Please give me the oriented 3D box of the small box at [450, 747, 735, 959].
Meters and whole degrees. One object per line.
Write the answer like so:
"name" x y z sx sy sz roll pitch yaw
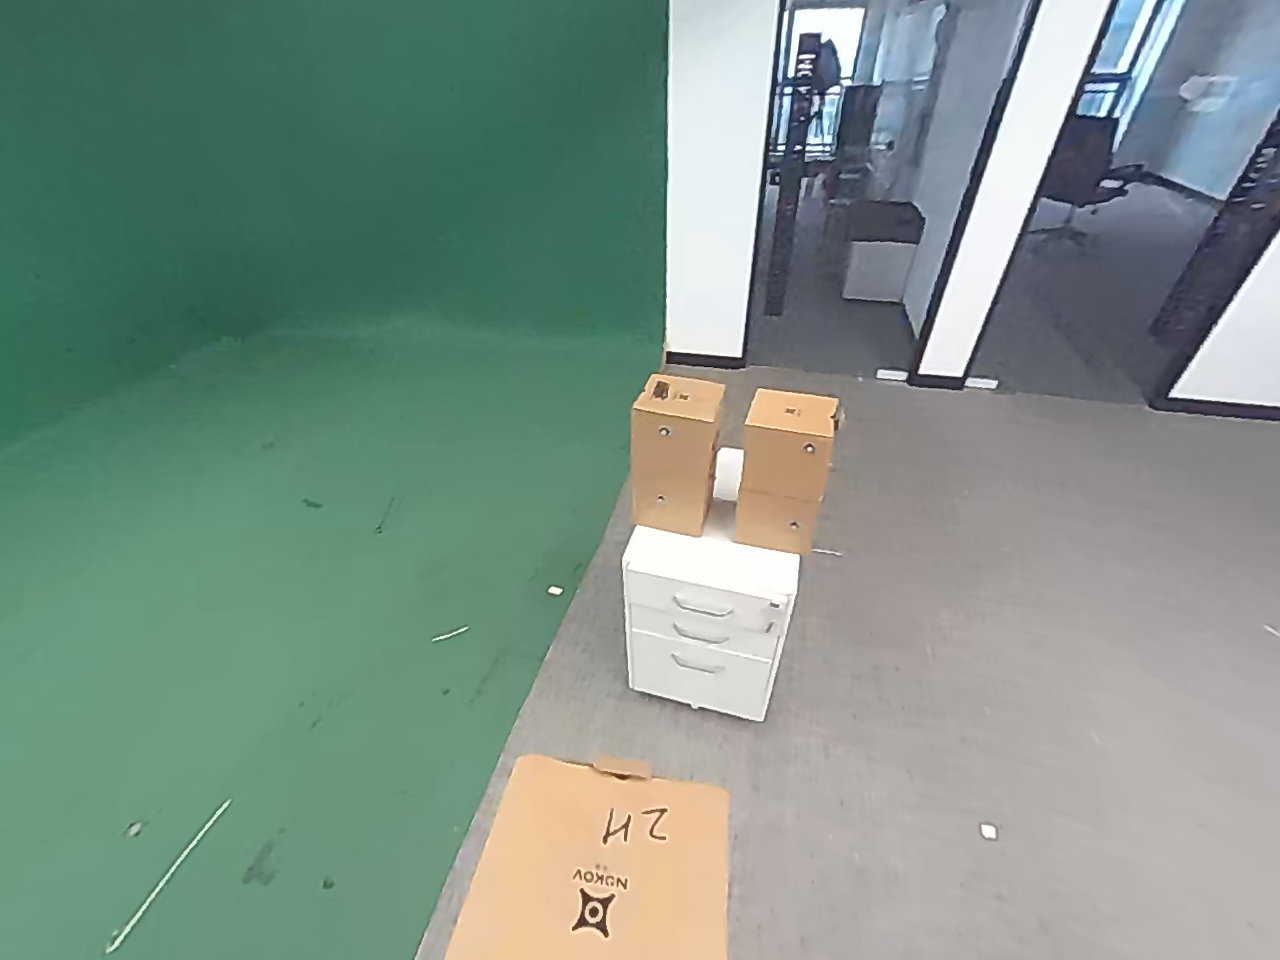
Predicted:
"small box" -0.026 0.333 0.386 0.168 0.176 0.179 8 30 6

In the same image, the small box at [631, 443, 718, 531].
"small box" 0.085 0.004 1.327 0.179 0.176 0.168 11 41 13

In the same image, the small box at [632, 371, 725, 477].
"small box" 0.086 -0.127 1.226 0.179 0.176 0.168 12 41 12

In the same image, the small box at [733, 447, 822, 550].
"small box" 0.323 0.045 1.275 0.179 0.176 0.168 8 39 14
